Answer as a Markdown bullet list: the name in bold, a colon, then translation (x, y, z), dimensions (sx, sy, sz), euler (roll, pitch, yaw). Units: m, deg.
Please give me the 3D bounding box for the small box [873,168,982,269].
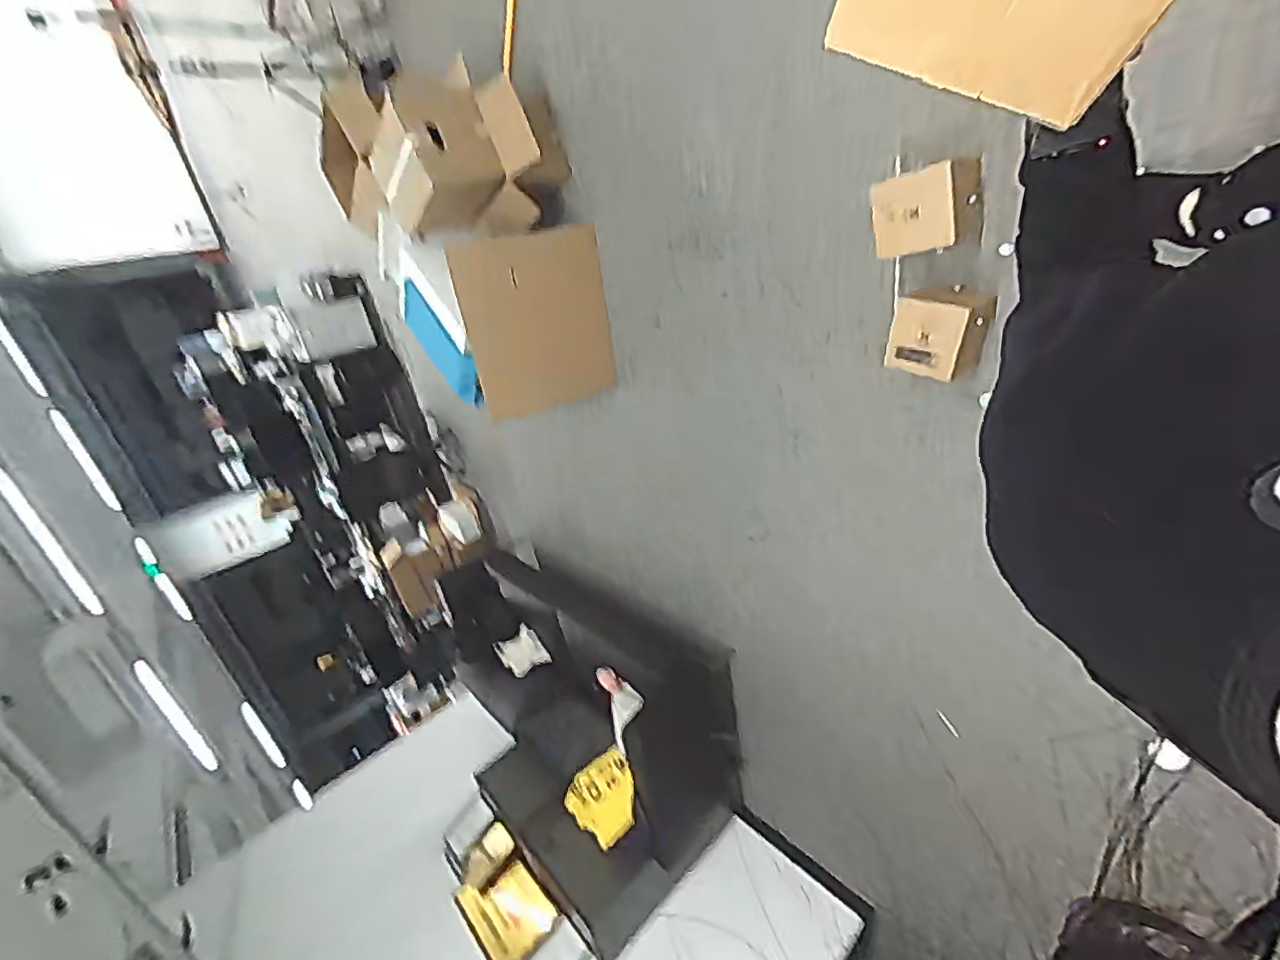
- **small box**: translation (0.670, -0.603, 1.248), dimensions (0.179, 0.176, 0.168), euler (9, 119, 50)
